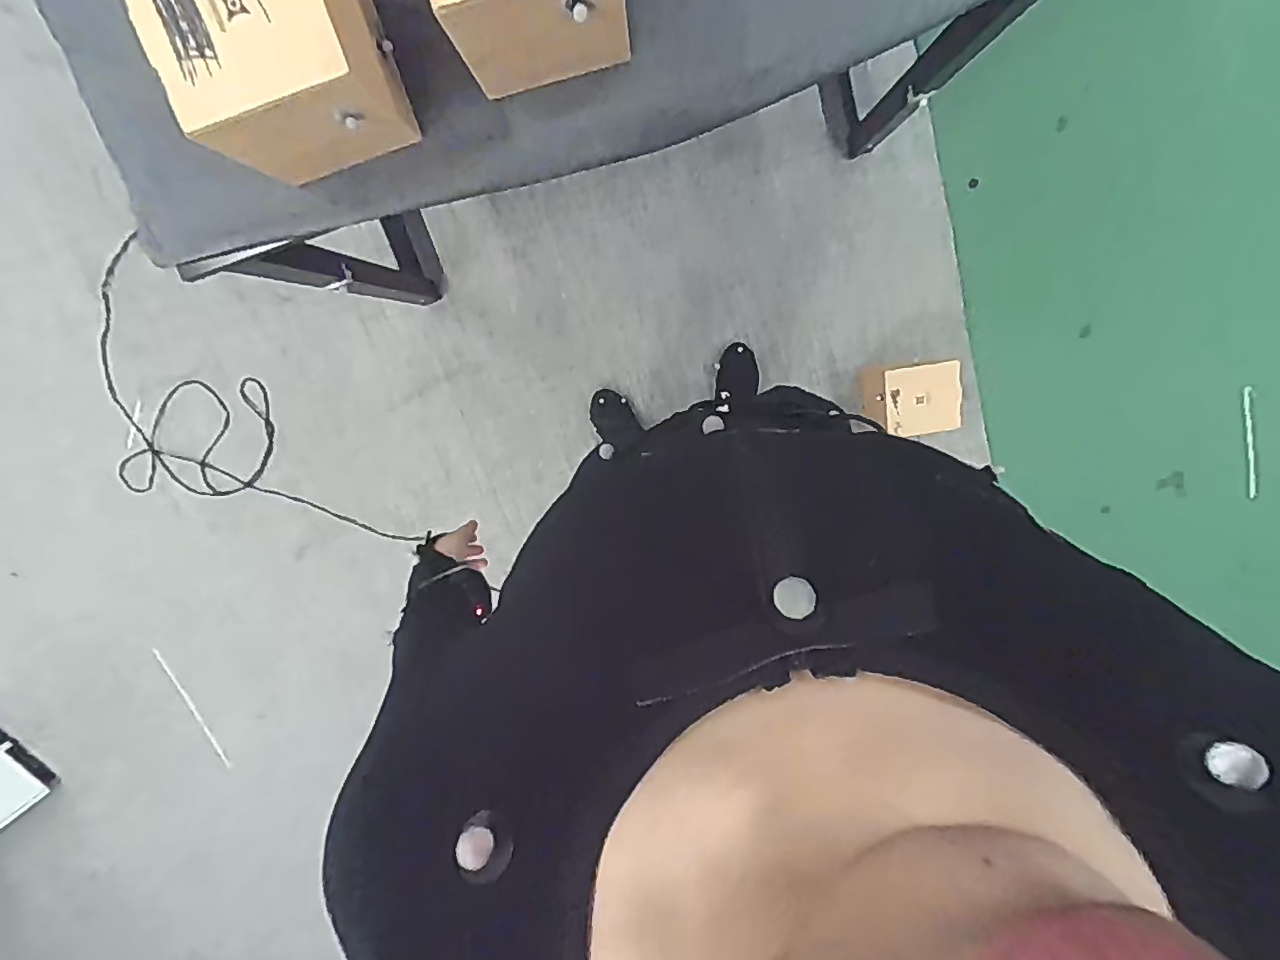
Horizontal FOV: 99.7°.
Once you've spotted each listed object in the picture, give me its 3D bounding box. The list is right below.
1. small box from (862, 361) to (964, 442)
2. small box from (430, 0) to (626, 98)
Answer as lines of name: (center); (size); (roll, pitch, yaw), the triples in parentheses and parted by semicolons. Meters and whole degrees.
small box: (0.674, -0.201, 1.345); (0.179, 0.176, 0.168); (-8, 104, 4)
small box: (-0.113, -0.525, 0.538); (0.179, 0.176, 0.168); (-12, 101, 5)
